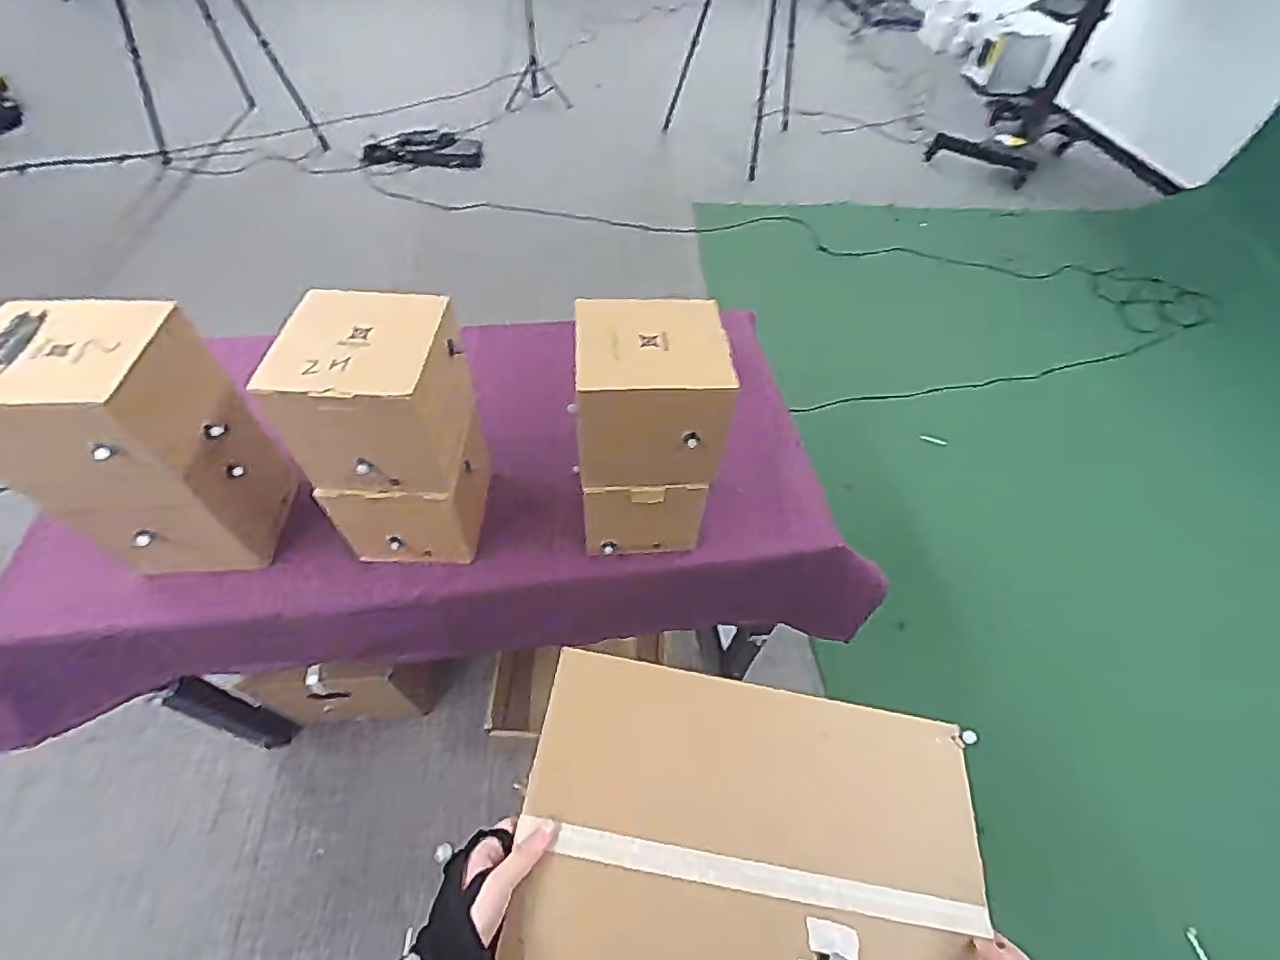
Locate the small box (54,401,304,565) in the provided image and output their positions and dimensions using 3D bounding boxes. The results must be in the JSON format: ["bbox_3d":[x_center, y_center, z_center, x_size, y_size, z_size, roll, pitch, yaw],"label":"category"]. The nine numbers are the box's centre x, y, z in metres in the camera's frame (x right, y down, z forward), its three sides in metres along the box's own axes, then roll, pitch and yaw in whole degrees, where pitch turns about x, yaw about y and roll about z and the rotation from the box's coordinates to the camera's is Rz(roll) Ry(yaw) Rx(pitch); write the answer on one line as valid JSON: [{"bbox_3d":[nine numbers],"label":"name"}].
[{"bbox_3d":[-0.615,0.008,0.753,0.179,0.176,0.168,-2,55,-5],"label":"small box"}]

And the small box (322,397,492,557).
[{"bbox_3d":[-0.319,-0.006,0.785,0.168,0.176,0.179,2,54,-2],"label":"small box"}]

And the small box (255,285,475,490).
[{"bbox_3d":[-0.309,-0.110,0.658,0.168,0.176,0.179,2,54,-1],"label":"small box"}]

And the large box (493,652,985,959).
[{"bbox_3d":[0.077,0.411,0.588,0.408,0.320,0.320,11,57,0],"label":"large box"}]

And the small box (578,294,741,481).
[{"bbox_3d":[0.014,-0.111,0.678,0.179,0.176,0.168,-1,53,-4],"label":"small box"}]

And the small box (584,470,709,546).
[{"bbox_3d":[0.002,-0.011,0.807,0.168,0.176,0.179,-2,53,-5],"label":"small box"}]
